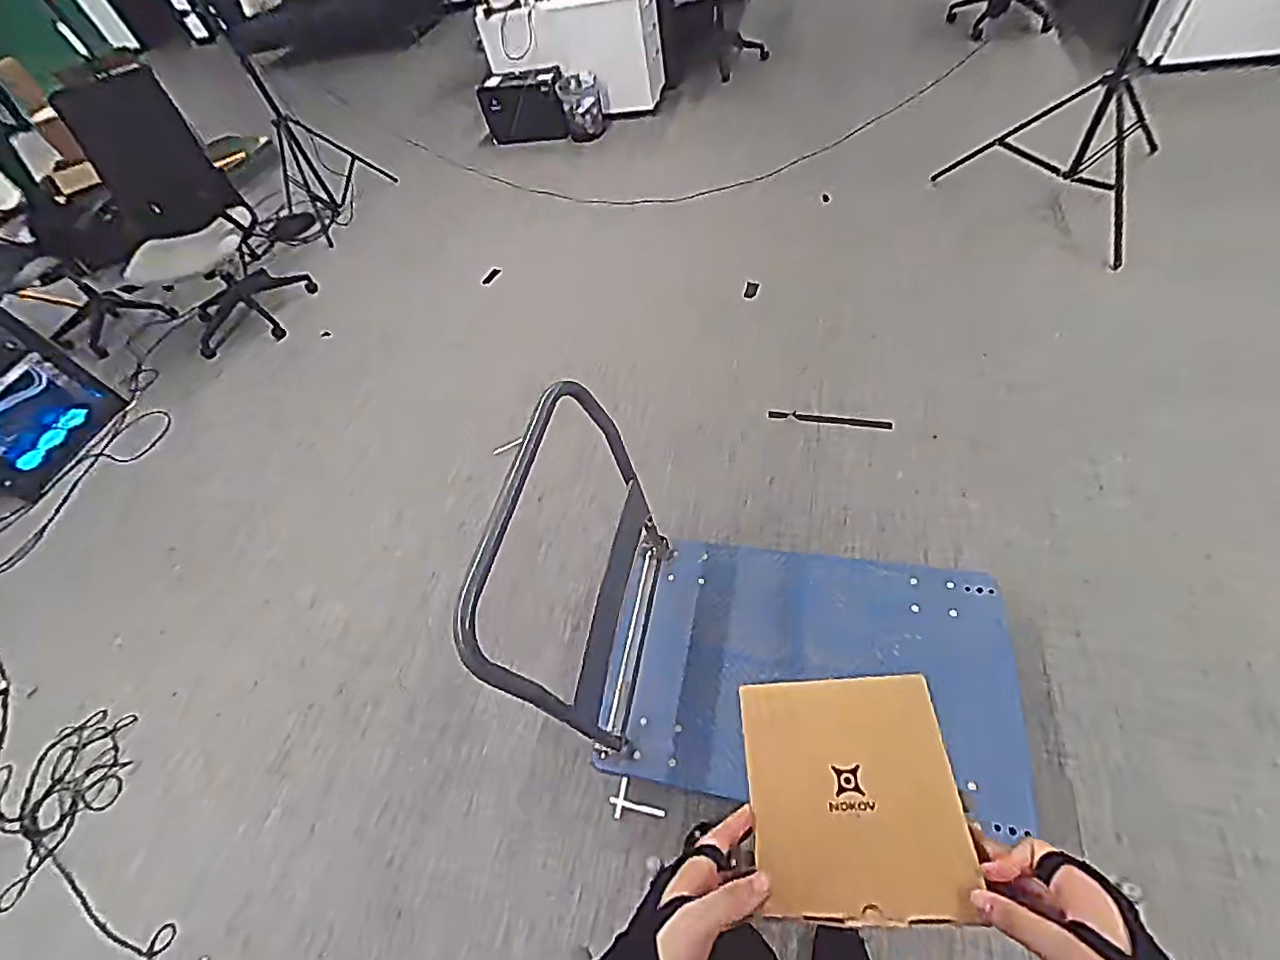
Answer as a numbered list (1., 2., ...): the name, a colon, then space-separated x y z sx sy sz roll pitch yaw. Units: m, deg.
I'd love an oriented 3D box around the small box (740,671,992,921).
1. small box: 0.189 0.297 0.506 0.168 0.176 0.179 -9 52 12
